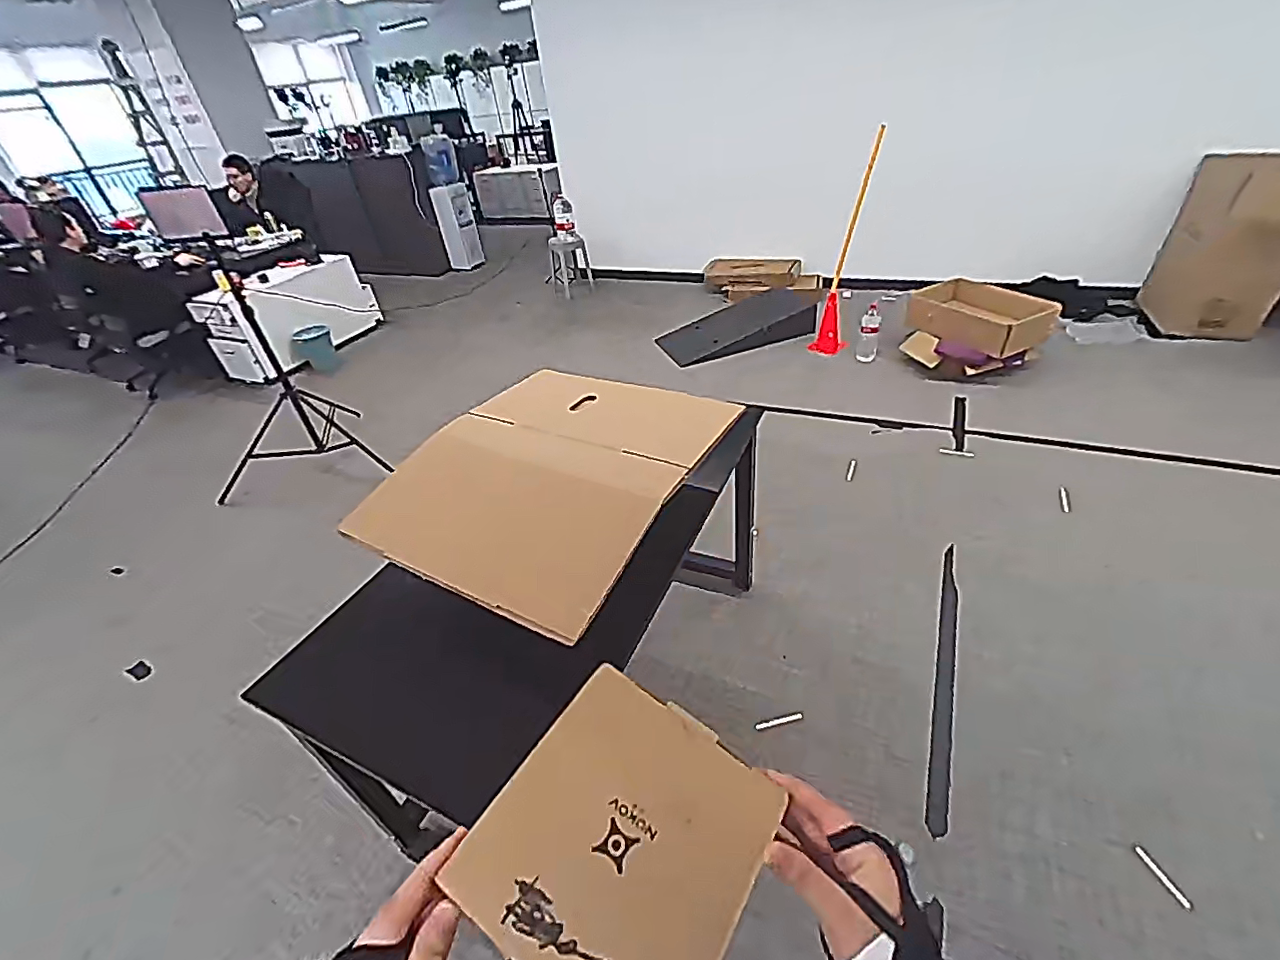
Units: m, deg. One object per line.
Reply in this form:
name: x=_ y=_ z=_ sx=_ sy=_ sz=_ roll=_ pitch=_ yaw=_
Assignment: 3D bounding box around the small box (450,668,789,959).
small box: x=-0.015 y=0.291 z=0.414 sx=0.168 sy=0.176 sz=0.179 roll=29 pitch=48 yaw=21
